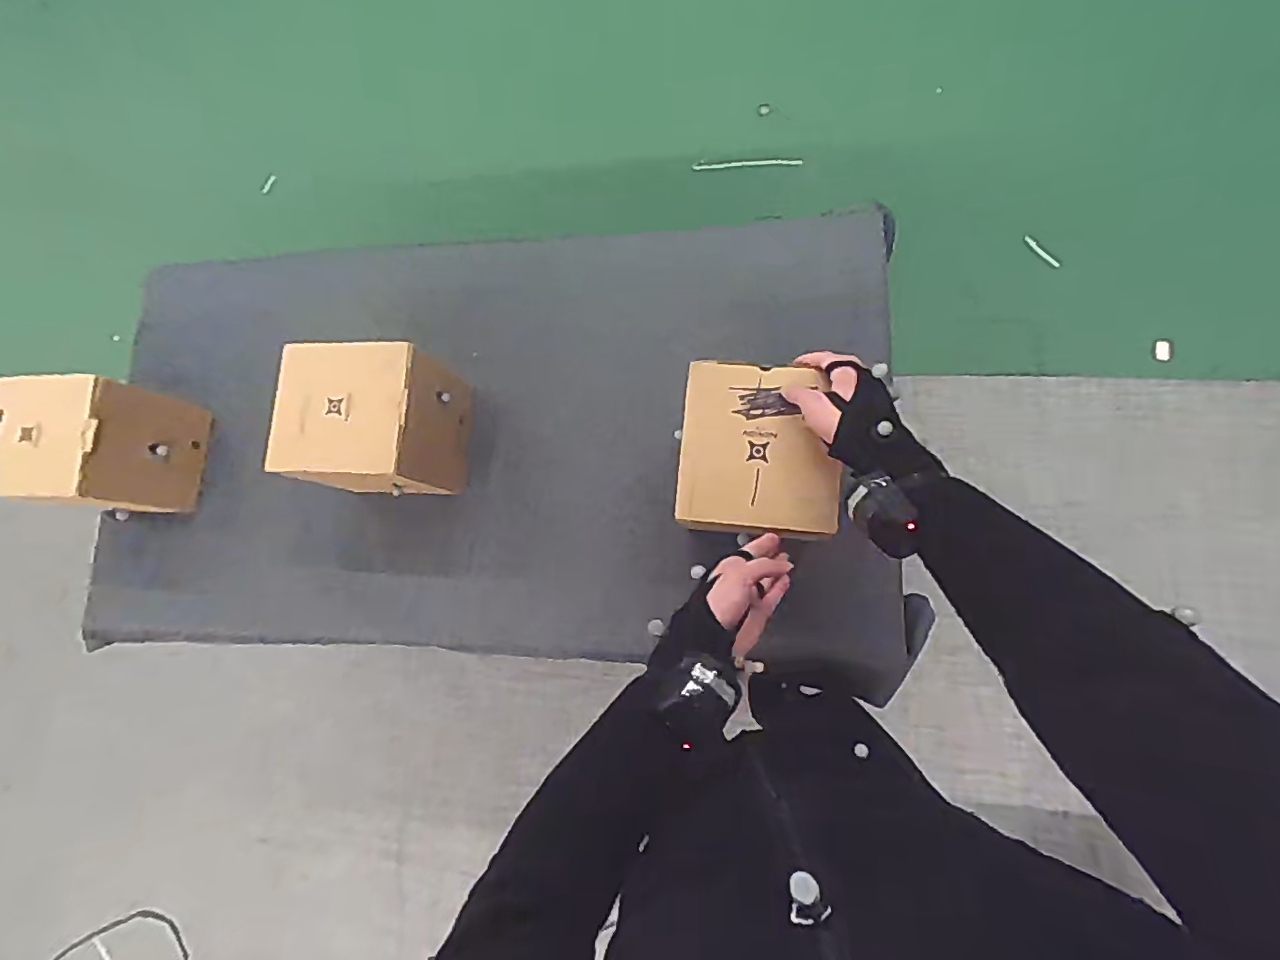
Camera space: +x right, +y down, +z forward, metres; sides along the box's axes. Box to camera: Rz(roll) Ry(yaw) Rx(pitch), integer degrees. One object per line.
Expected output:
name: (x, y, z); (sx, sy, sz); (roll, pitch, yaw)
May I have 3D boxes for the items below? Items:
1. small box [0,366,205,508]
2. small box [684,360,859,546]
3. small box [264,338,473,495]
small box: (-0.777, -0.053, 0.770); (0.179, 0.176, 0.168); (2, 79, 7)
small box: (0.146, -0.023, 0.633); (0.168, 0.176, 0.179); (6, 82, 10)
small box: (-0.341, -0.076, 0.716); (0.179, 0.176, 0.168); (1, 78, 9)
